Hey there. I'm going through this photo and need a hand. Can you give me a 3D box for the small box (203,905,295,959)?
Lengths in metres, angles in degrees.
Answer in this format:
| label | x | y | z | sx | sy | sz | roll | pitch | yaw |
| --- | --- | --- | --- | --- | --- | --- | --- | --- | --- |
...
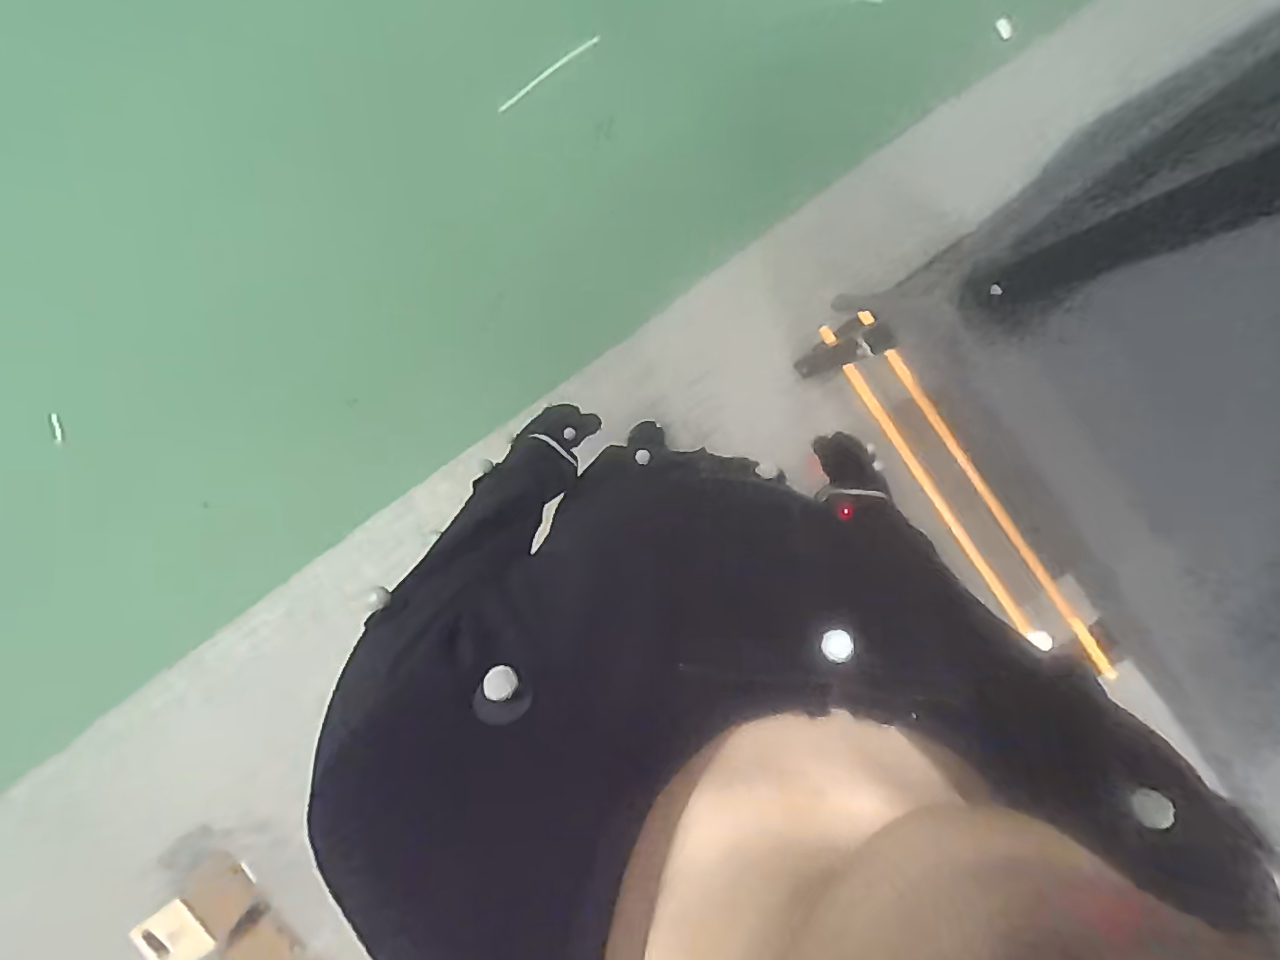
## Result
| label | x | y | z | sx | sy | sz | roll | pitch | yaw |
| --- | --- | --- | --- | --- | --- | --- | --- | --- | --- |
| small box | -1.105 | 1.348 | 1.504 | 0.179 | 0.176 | 0.168 | -35 | 94 | 4 |
